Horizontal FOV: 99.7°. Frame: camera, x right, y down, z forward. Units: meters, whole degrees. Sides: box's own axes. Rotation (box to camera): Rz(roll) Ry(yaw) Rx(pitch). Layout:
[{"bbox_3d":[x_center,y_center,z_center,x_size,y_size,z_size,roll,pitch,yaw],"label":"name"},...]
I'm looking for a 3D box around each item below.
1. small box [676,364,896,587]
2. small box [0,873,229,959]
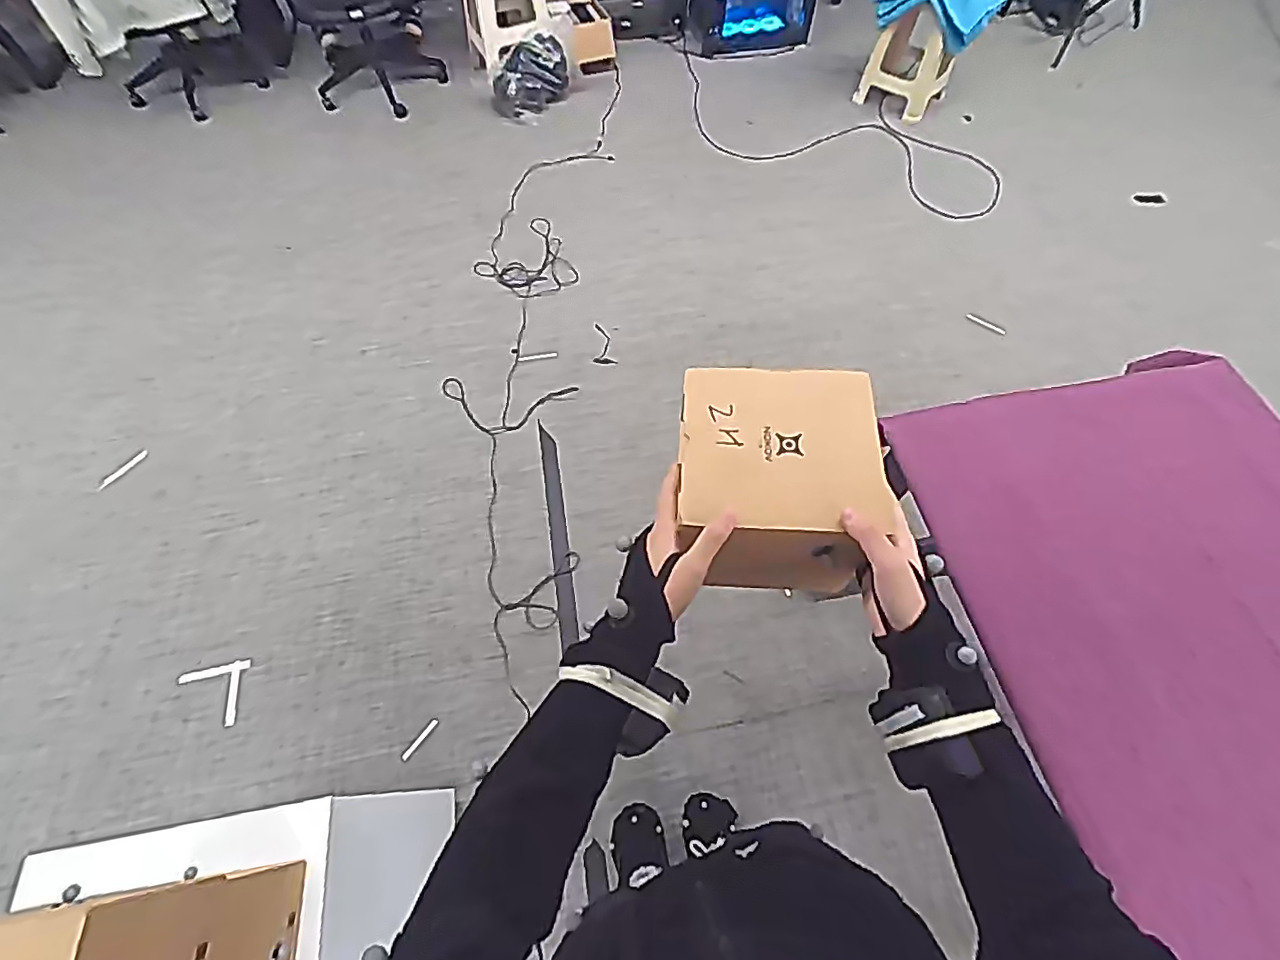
[{"bbox_3d":[0.128,0.004,0.541,0.179,0.176,0.168,2,63,5],"label":"small box"},{"bbox_3d":[-0.506,0.455,0.457,0.179,0.176,0.168,-7,62,-4],"label":"small box"}]
